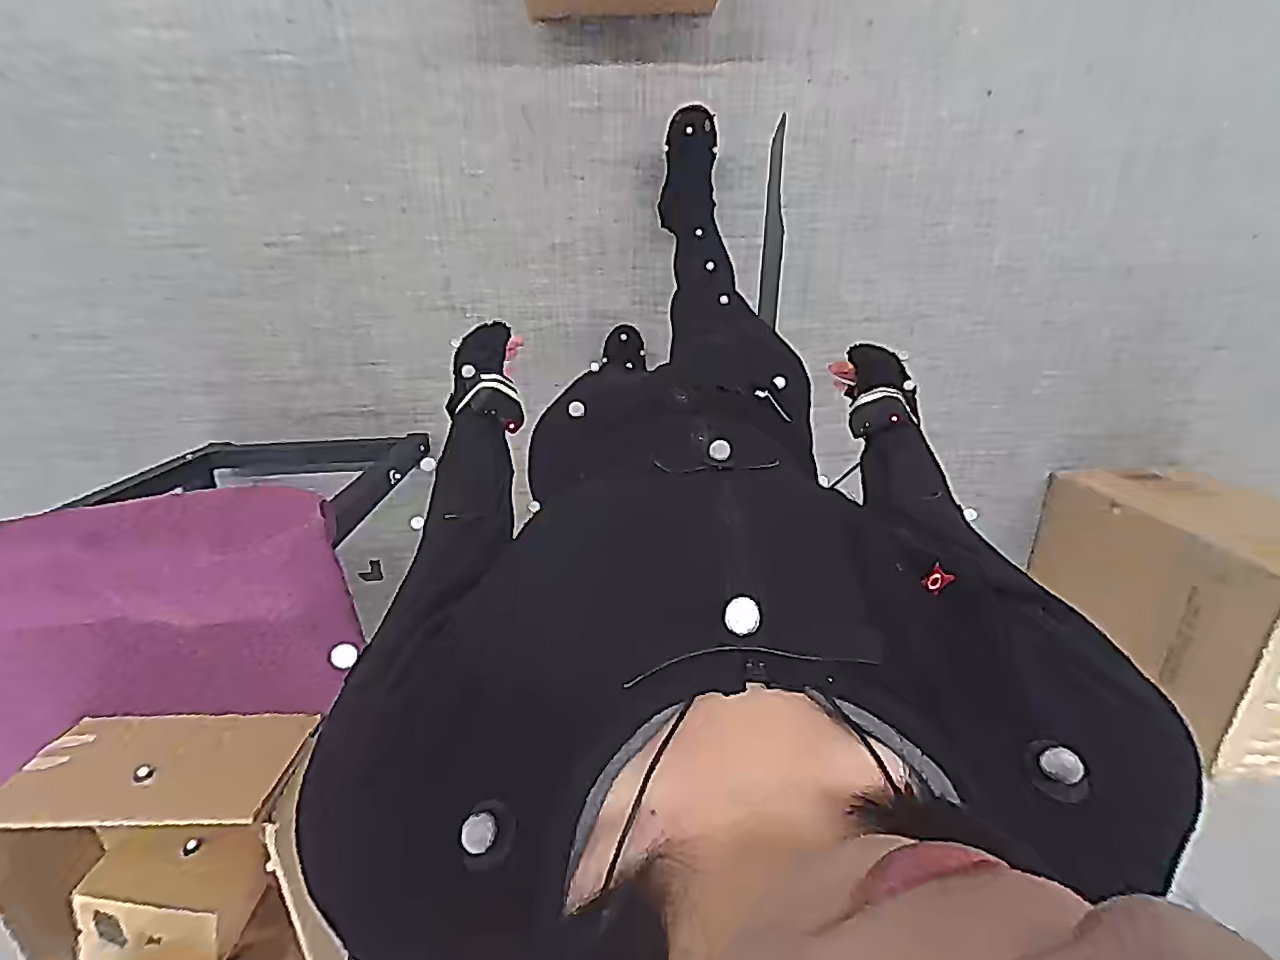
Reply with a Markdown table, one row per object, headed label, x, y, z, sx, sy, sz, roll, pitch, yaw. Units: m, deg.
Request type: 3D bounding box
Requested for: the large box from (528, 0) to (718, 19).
| label | x | y | z | sx | sy | sz | roll | pitch | yaw |
| --- | --- | --- | --- | --- | --- | --- | --- | --- | --- |
| large box | -0.035 | -1.080 | 0.958 | 0.408 | 0.320 | 0.320 | -5 | 112 | -2 |
